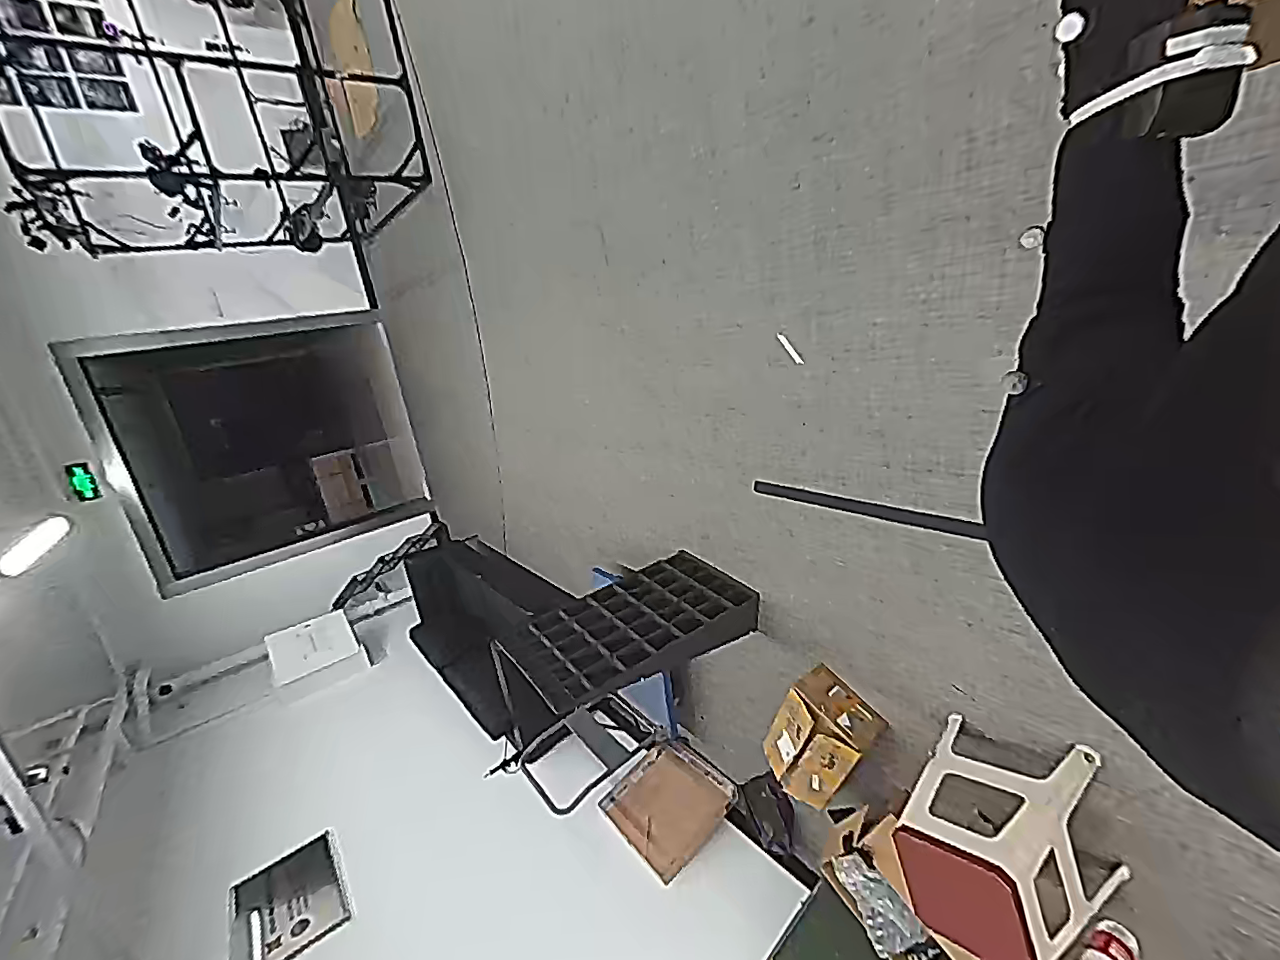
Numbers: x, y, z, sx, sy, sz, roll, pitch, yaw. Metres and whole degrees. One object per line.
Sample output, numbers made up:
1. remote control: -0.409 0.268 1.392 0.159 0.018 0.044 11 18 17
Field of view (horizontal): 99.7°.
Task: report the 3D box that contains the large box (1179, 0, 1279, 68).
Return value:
1. large box: 0.560 -0.489 0.258 0.408 0.320 0.320 6 114 50
